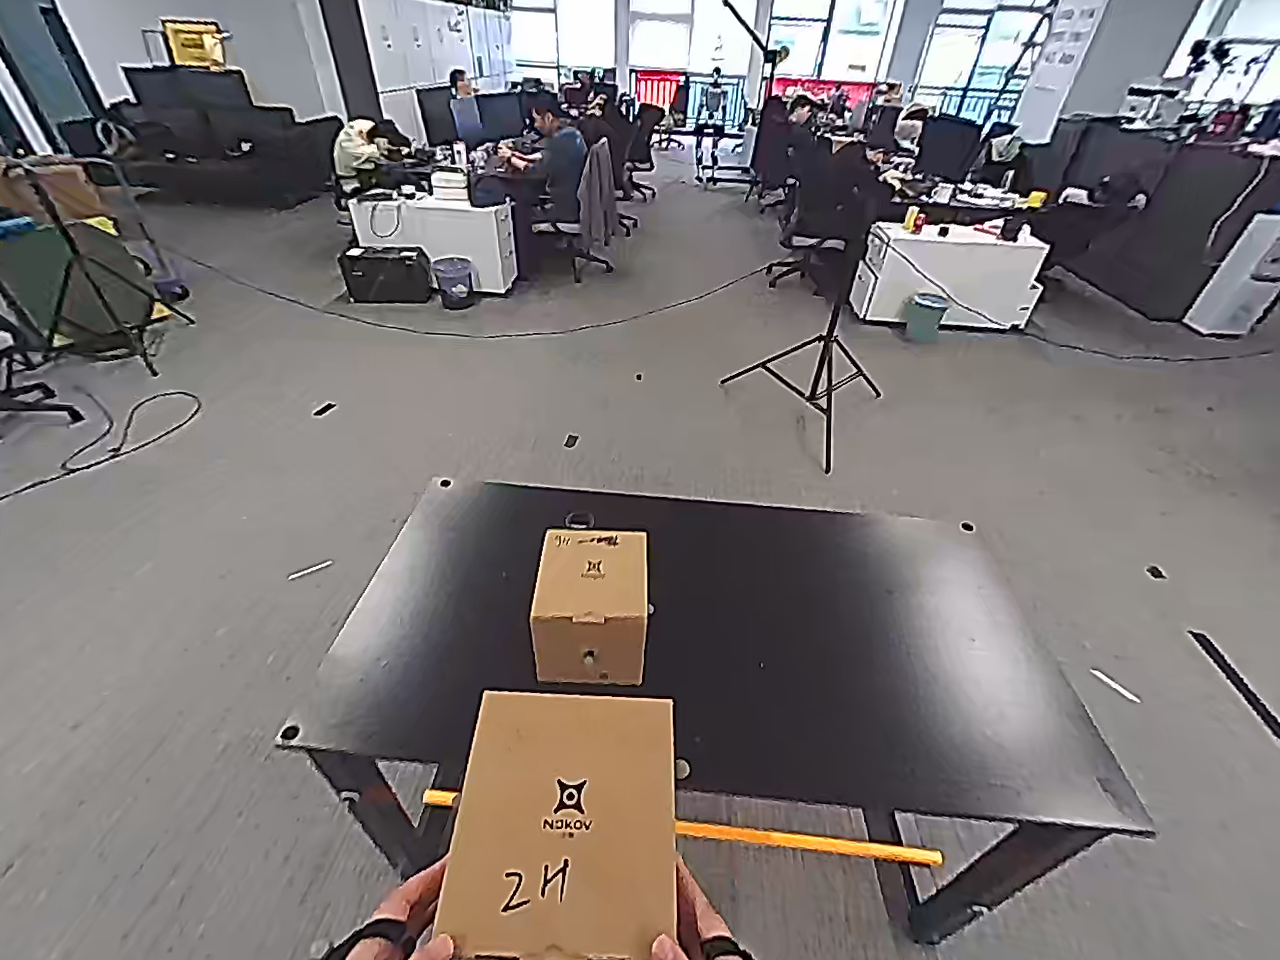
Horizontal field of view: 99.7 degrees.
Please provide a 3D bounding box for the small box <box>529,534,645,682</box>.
[{"bbox_3d":[-0.075,0.207,0.873,0.168,0.176,0.179,1,39,-1],"label":"small box"}]

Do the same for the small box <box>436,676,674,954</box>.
[{"bbox_3d":[-0.060,0.297,0.480,0.168,0.176,0.179,3,47,-1],"label":"small box"}]
